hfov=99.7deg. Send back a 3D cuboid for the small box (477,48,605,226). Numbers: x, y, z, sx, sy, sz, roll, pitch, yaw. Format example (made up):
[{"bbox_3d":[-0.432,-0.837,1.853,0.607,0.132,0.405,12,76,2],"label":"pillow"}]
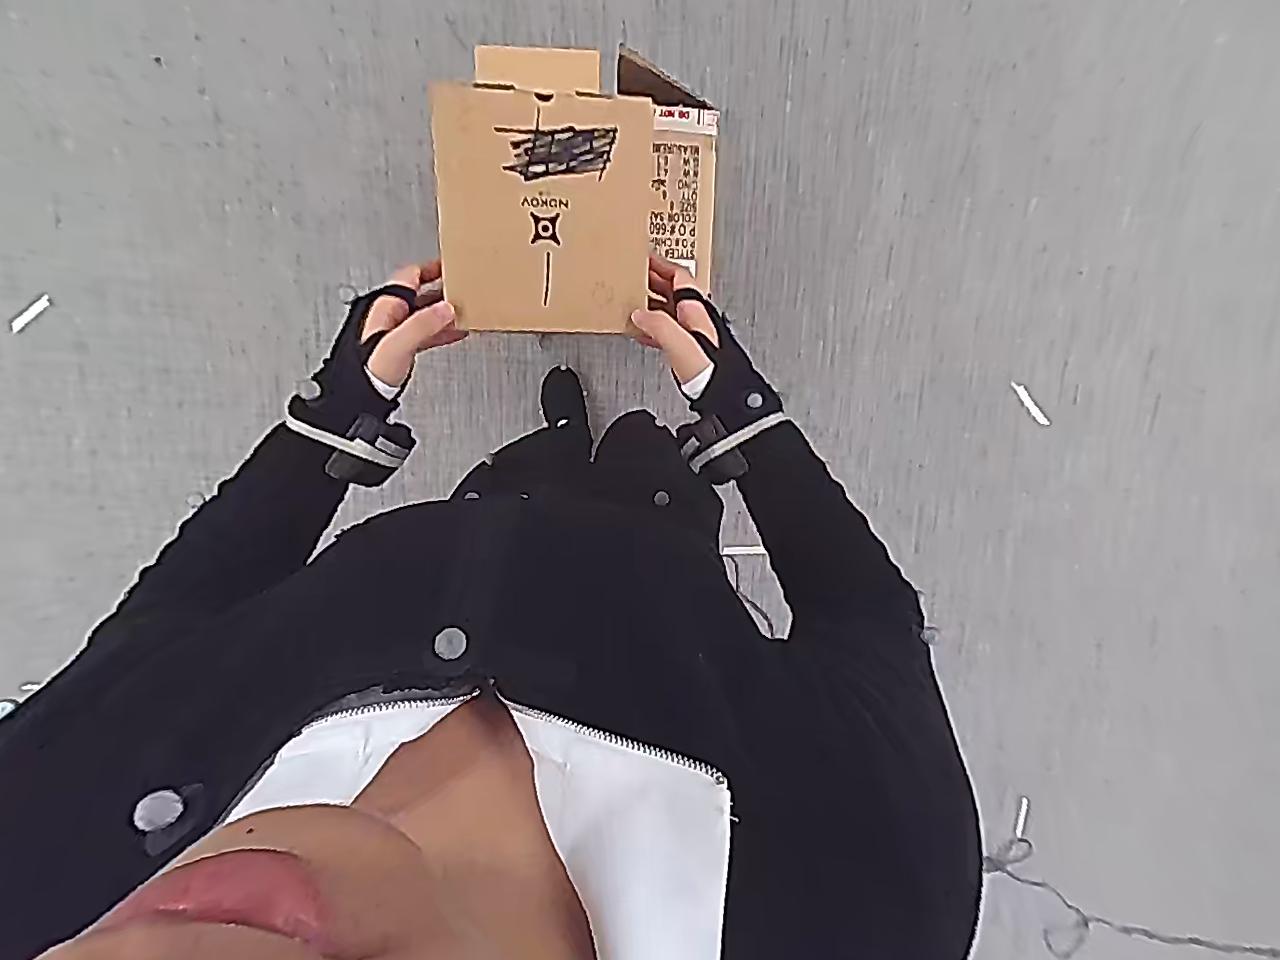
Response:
[{"bbox_3d":[-0.139,-0.496,0.807,0.168,0.176,0.179,2,103,-1],"label":"small box"}]
